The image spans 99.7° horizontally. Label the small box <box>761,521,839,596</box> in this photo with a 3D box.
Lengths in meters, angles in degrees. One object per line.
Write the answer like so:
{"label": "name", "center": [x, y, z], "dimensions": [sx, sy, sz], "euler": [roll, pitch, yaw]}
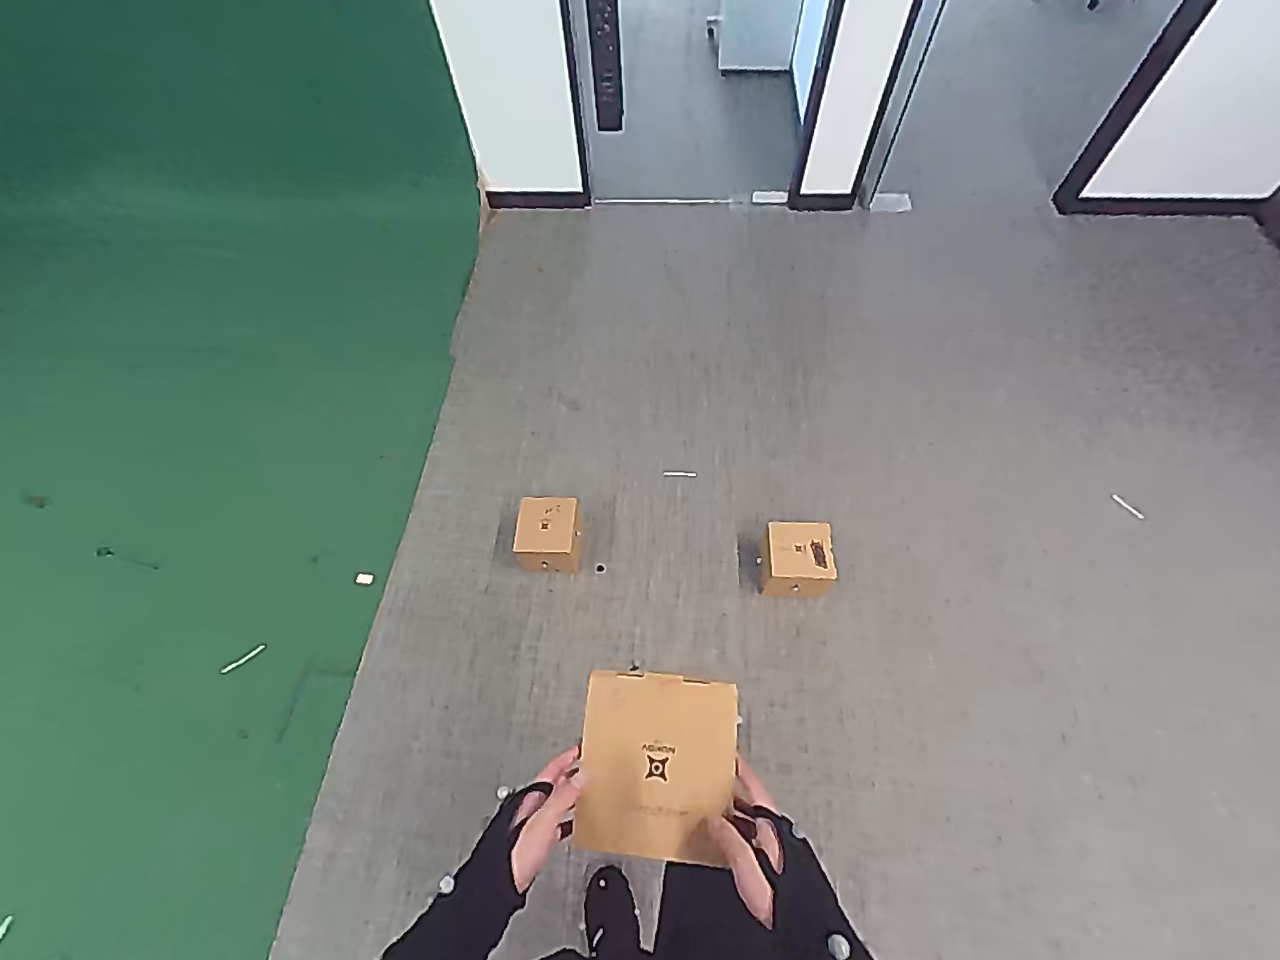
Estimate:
{"label": "small box", "center": [0.450, 0.228, 1.547], "dimensions": [0.179, 0.176, 0.168], "euler": [2, 60, 4]}

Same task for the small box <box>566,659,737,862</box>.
{"label": "small box", "center": [0.019, 0.313, 0.641], "dimensions": [0.168, 0.176, 0.179], "euler": [5, 73, 6]}

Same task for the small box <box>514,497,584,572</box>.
{"label": "small box", "center": [-0.264, 0.167, 1.613], "dimensions": [0.168, 0.176, 0.179], "euler": [1, 60, 3]}
